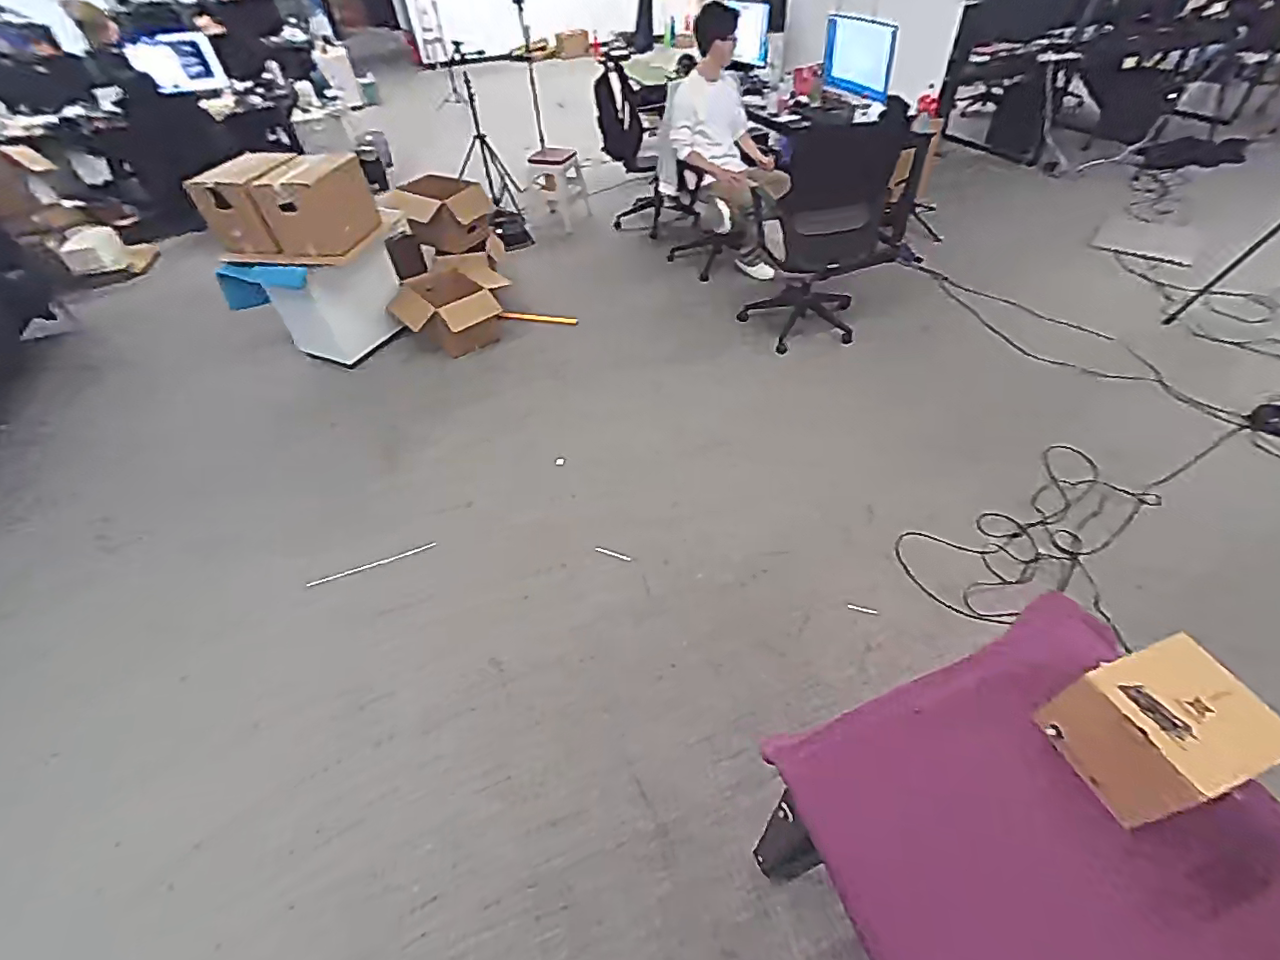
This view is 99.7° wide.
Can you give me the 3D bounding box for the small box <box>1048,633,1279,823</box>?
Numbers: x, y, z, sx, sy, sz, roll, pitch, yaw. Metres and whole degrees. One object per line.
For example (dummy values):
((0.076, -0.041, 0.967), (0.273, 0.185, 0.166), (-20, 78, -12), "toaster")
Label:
((0.722, 0.350, 0.756), (0.179, 0.176, 0.168), (-16, 48, -10), "small box")
